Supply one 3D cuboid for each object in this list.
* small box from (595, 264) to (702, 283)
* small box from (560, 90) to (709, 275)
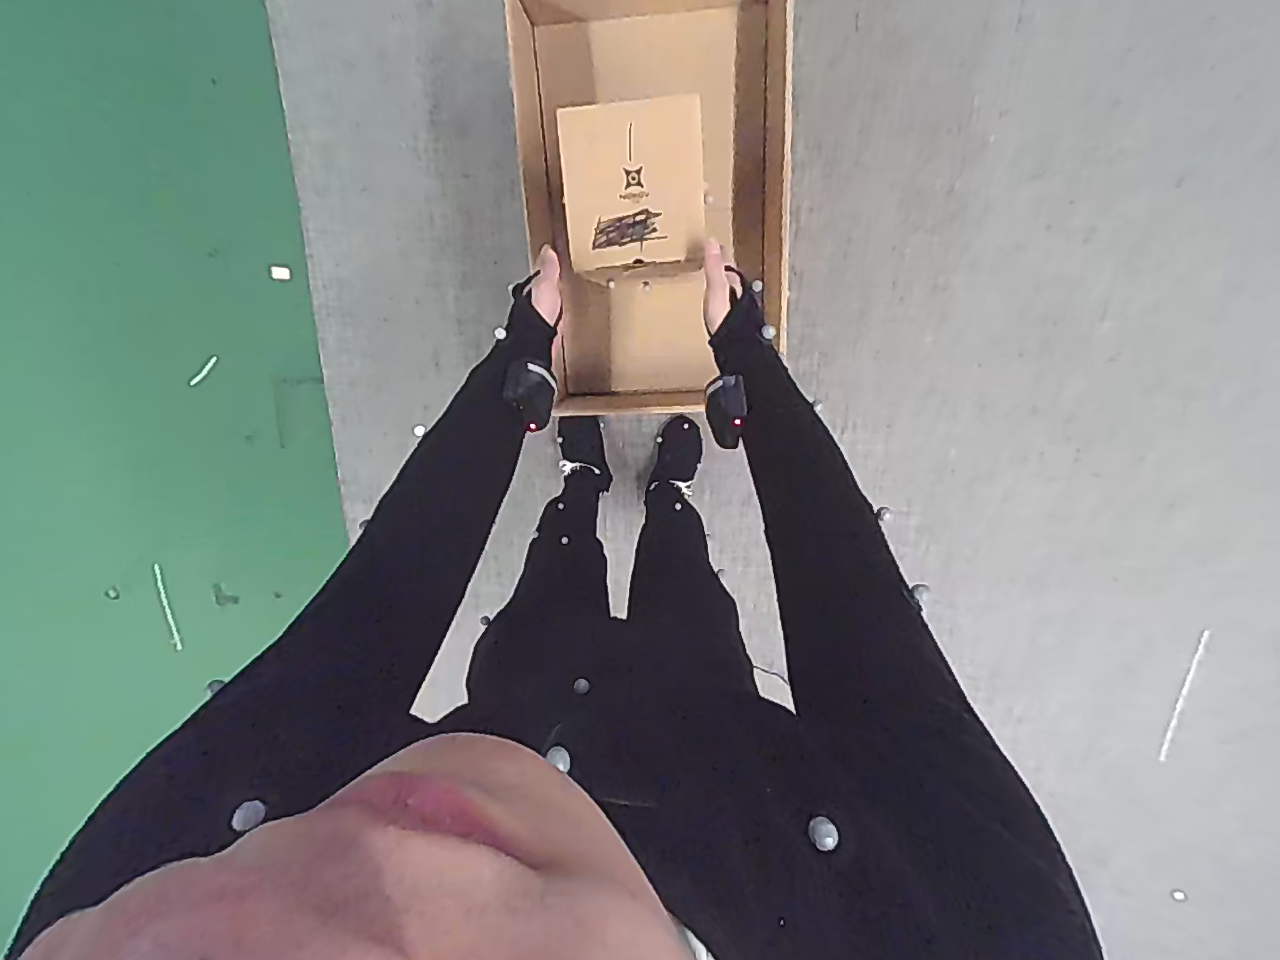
[{"bbox_3d":[0.011,-0.412,0.855,0.168,0.176,0.179,-1,107,4],"label":"small box"},{"bbox_3d":[0.002,-0.364,0.698,0.168,0.176,0.179,-3,106,4],"label":"small box"}]
